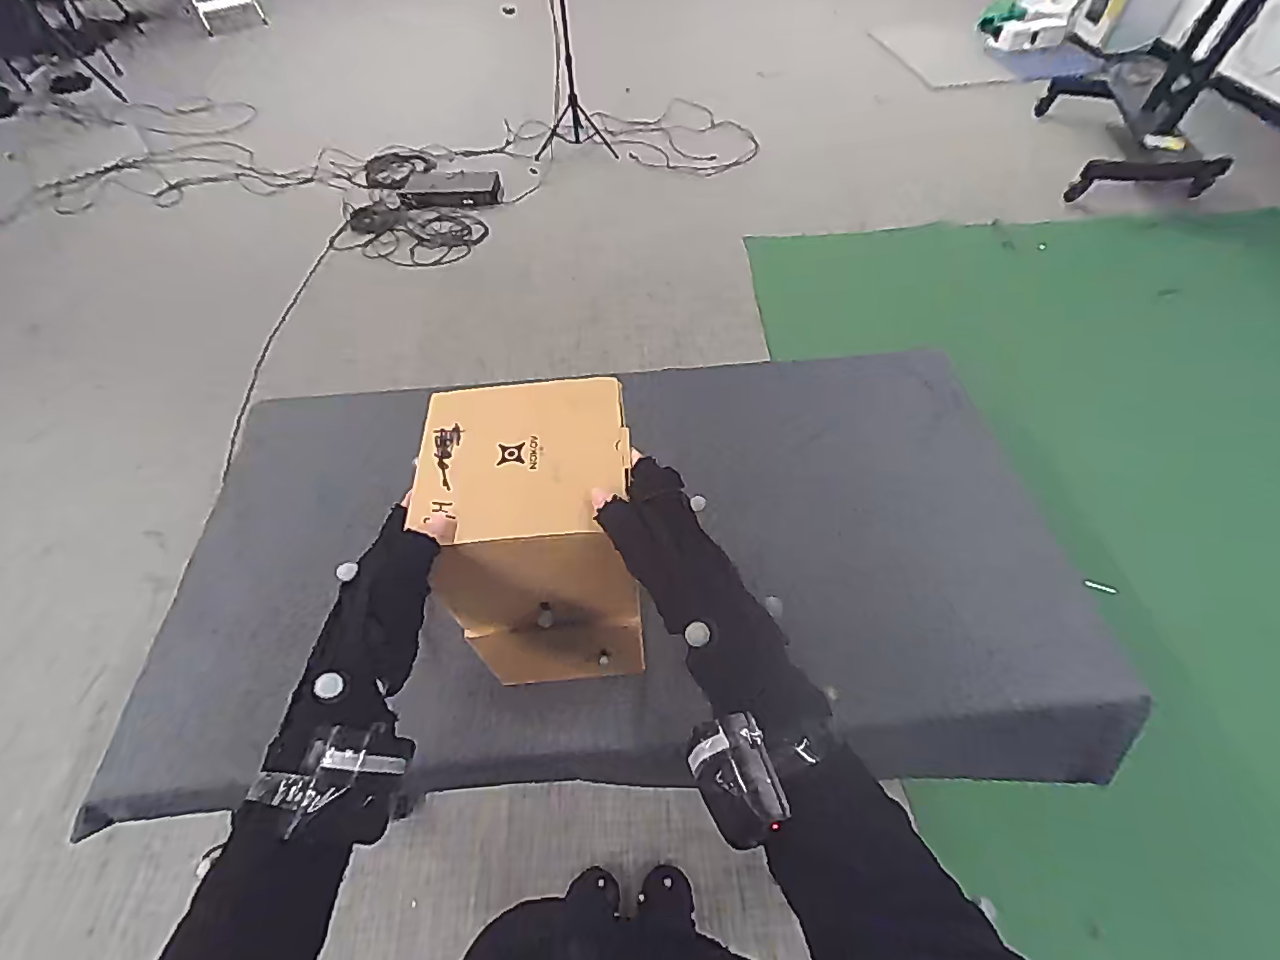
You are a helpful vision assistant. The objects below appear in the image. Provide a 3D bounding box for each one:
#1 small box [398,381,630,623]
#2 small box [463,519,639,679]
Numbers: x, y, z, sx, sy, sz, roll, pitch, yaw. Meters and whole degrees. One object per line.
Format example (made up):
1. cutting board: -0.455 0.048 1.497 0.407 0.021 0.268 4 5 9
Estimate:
1. small box: -0.101 0.026 0.519 0.179 0.176 0.168 -4 53 -2
2. small box: -0.094 0.128 0.649 0.179 0.176 0.168 -6 54 -1
